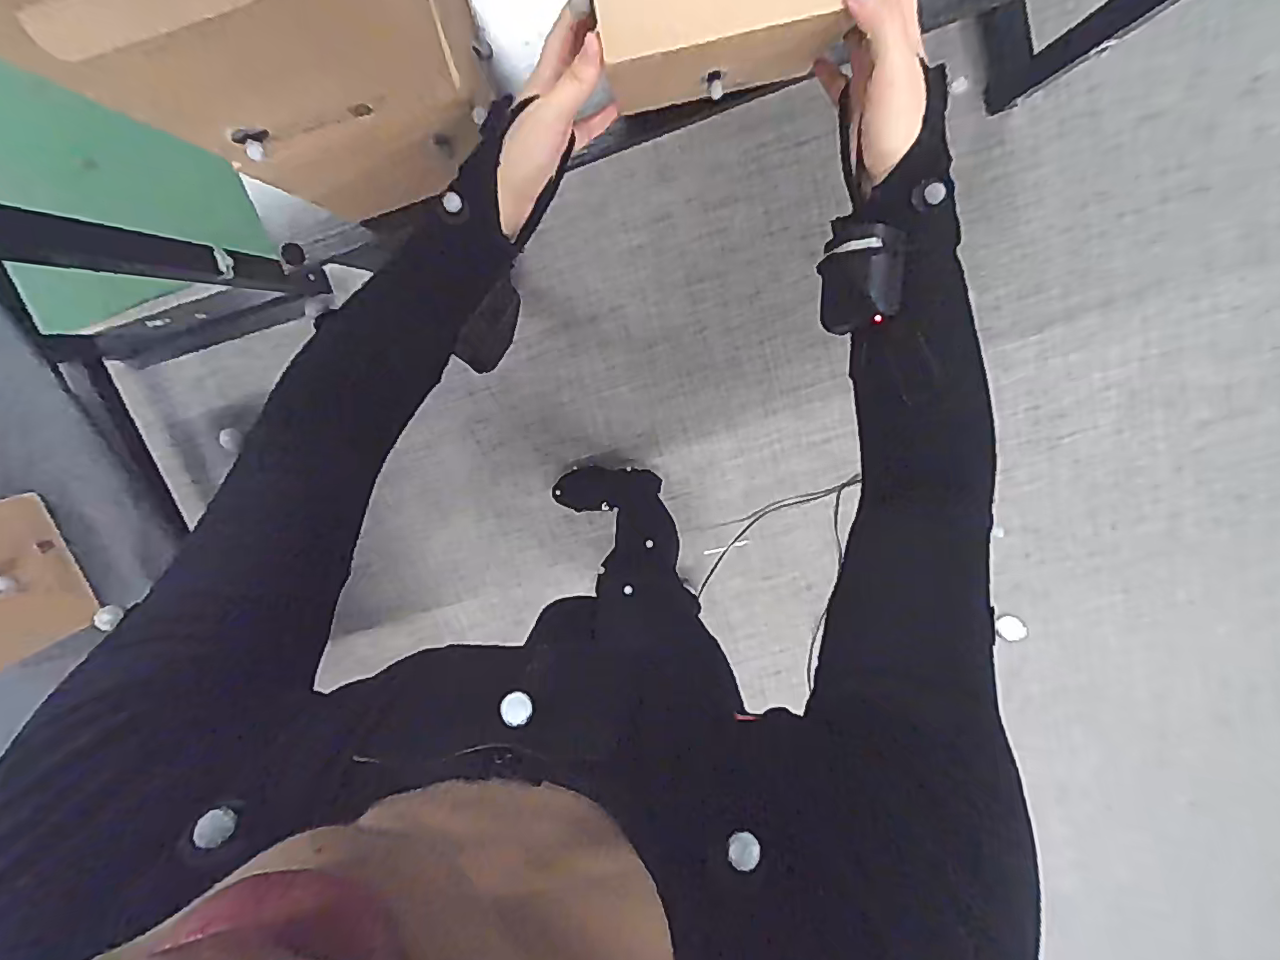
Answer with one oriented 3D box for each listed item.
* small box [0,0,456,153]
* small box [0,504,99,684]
[{"bbox_3d":[-0.218,-0.296,0.276,0.168,0.176,0.179,-15,103,4],"label":"small box"},{"bbox_3d":[-0.741,0.138,0.569,0.179,0.176,0.168,-14,104,6],"label":"small box"}]
